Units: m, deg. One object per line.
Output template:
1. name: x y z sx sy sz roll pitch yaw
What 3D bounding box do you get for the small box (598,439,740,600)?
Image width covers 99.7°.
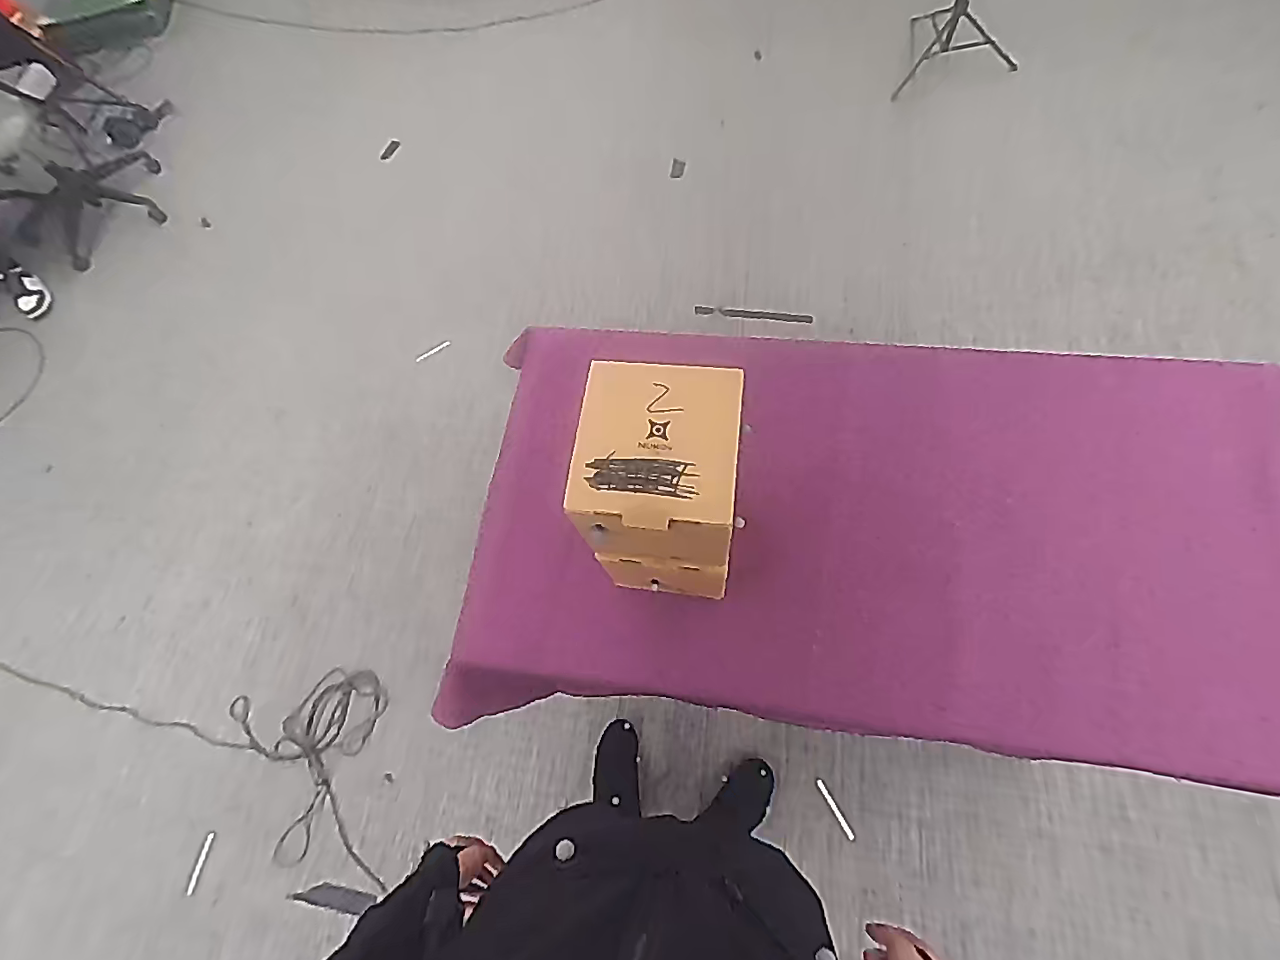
1. small box: 0.046 0.061 0.768 0.168 0.176 0.179 6 69 9
